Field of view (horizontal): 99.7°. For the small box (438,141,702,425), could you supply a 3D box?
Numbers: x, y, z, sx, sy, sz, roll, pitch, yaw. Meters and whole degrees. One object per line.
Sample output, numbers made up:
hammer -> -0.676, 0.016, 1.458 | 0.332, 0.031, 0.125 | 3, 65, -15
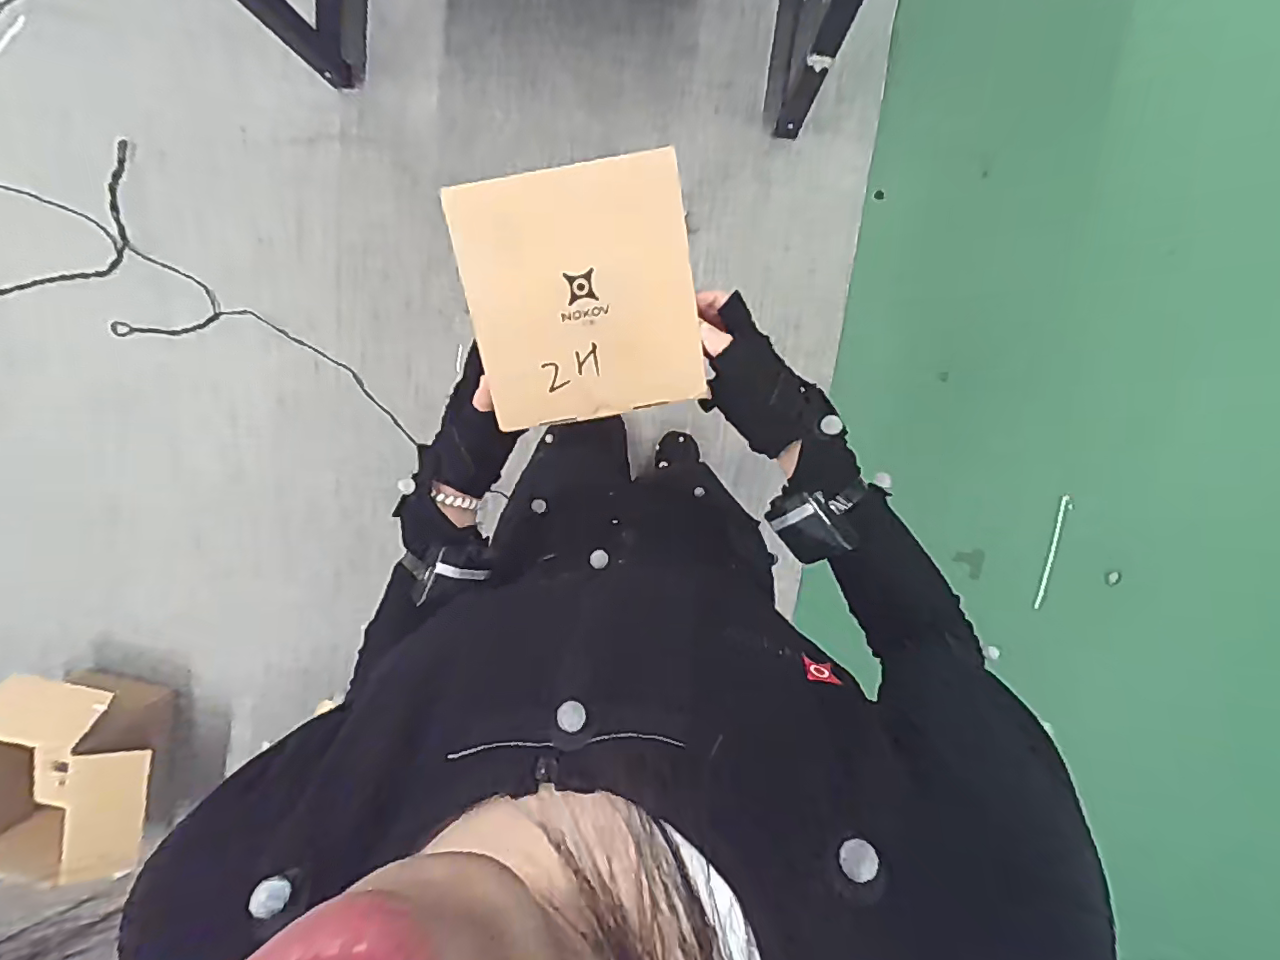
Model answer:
small box -> -0.049, -0.159, 0.468 | 0.168, 0.176, 0.179 | -10, 108, 1
